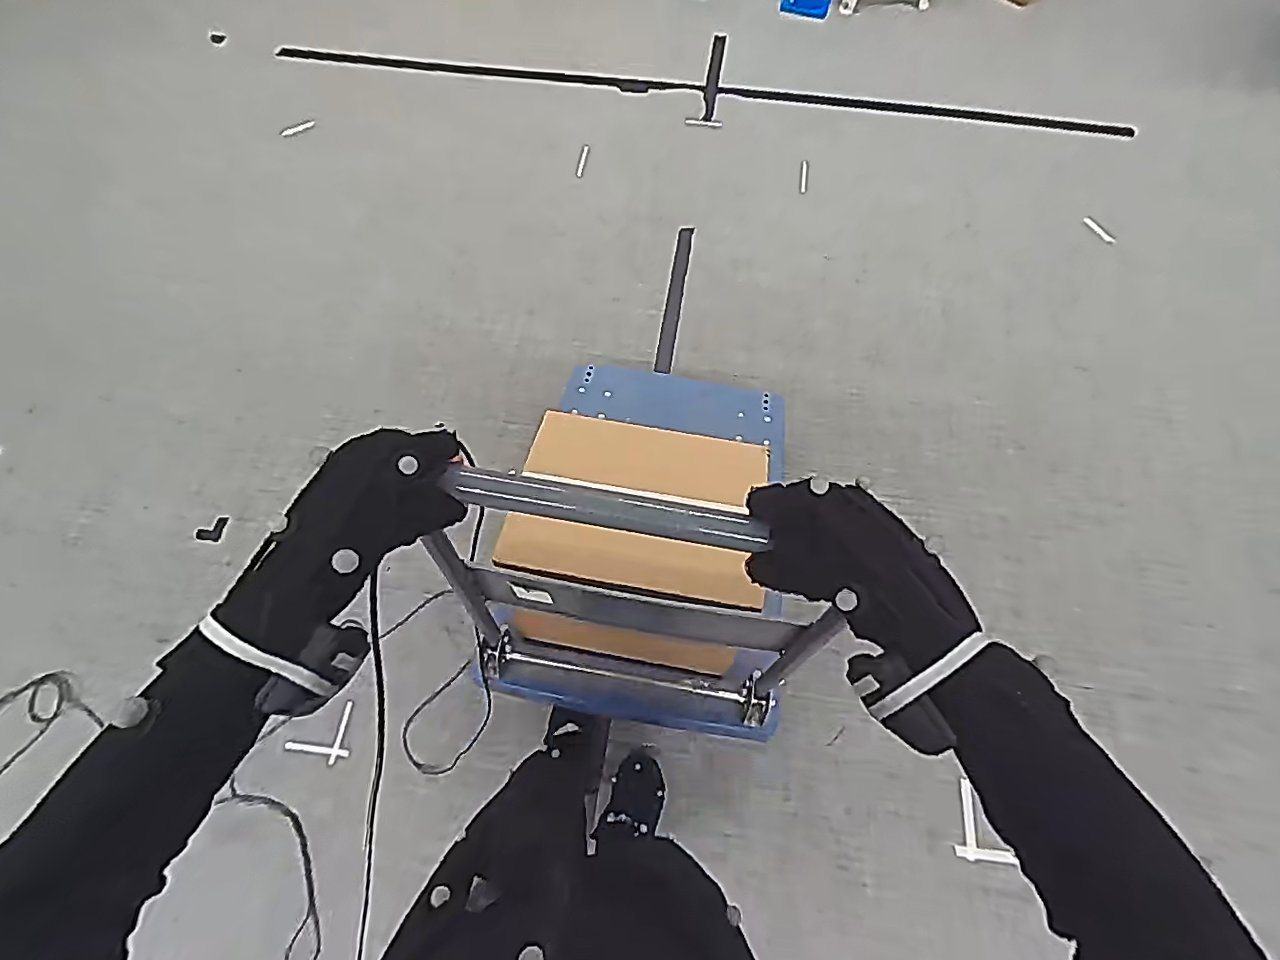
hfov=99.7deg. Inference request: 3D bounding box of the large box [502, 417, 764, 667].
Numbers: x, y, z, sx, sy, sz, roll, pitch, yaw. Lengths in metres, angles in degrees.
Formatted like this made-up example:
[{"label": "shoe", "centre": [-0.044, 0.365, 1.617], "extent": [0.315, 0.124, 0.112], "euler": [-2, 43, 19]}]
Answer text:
[{"label": "large box", "centre": [-0.006, 0.123, 1.017], "extent": [0.408, 0.320, 0.320], "euler": [10, 54, 2]}]
